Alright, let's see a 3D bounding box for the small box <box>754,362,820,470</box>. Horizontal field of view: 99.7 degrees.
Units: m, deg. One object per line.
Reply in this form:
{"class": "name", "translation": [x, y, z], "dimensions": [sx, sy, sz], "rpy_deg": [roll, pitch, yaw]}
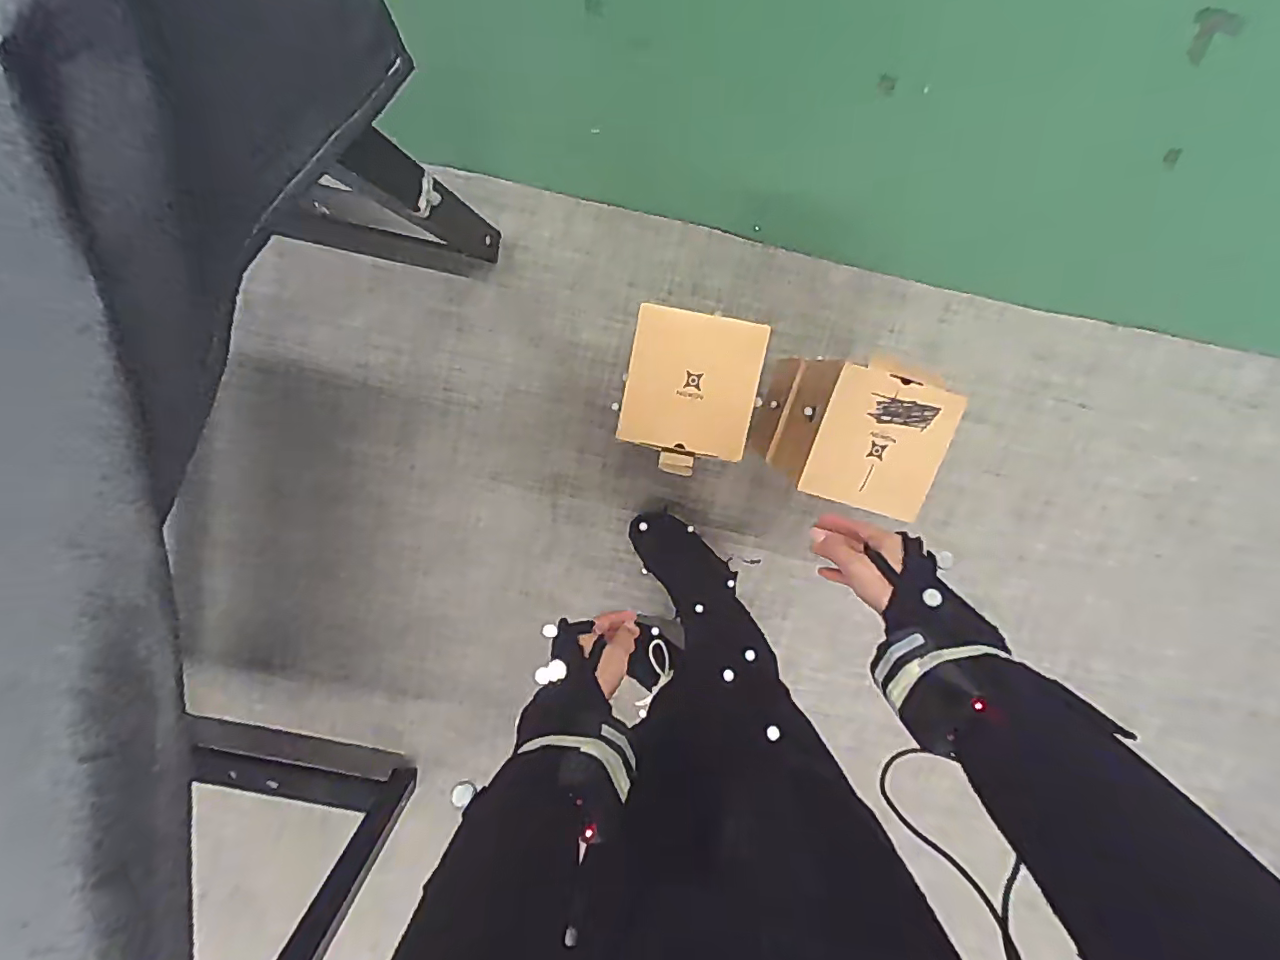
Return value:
{"class": "small box", "translation": [0.307, -0.097, 0.929], "dimensions": [0.168, 0.176, 0.179], "rpy_deg": [17, 103, -1]}

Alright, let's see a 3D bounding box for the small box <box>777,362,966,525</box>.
{"class": "small box", "translation": [0.310, -0.060, 0.769], "dimensions": [0.168, 0.176, 0.179], "rpy_deg": [17, 103, -1]}

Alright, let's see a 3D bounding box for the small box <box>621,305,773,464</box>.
{"class": "small box", "translation": [0.070, -0.133, 0.757], "dimensions": [0.168, 0.176, 0.179], "rpy_deg": [10, 102, -1]}
